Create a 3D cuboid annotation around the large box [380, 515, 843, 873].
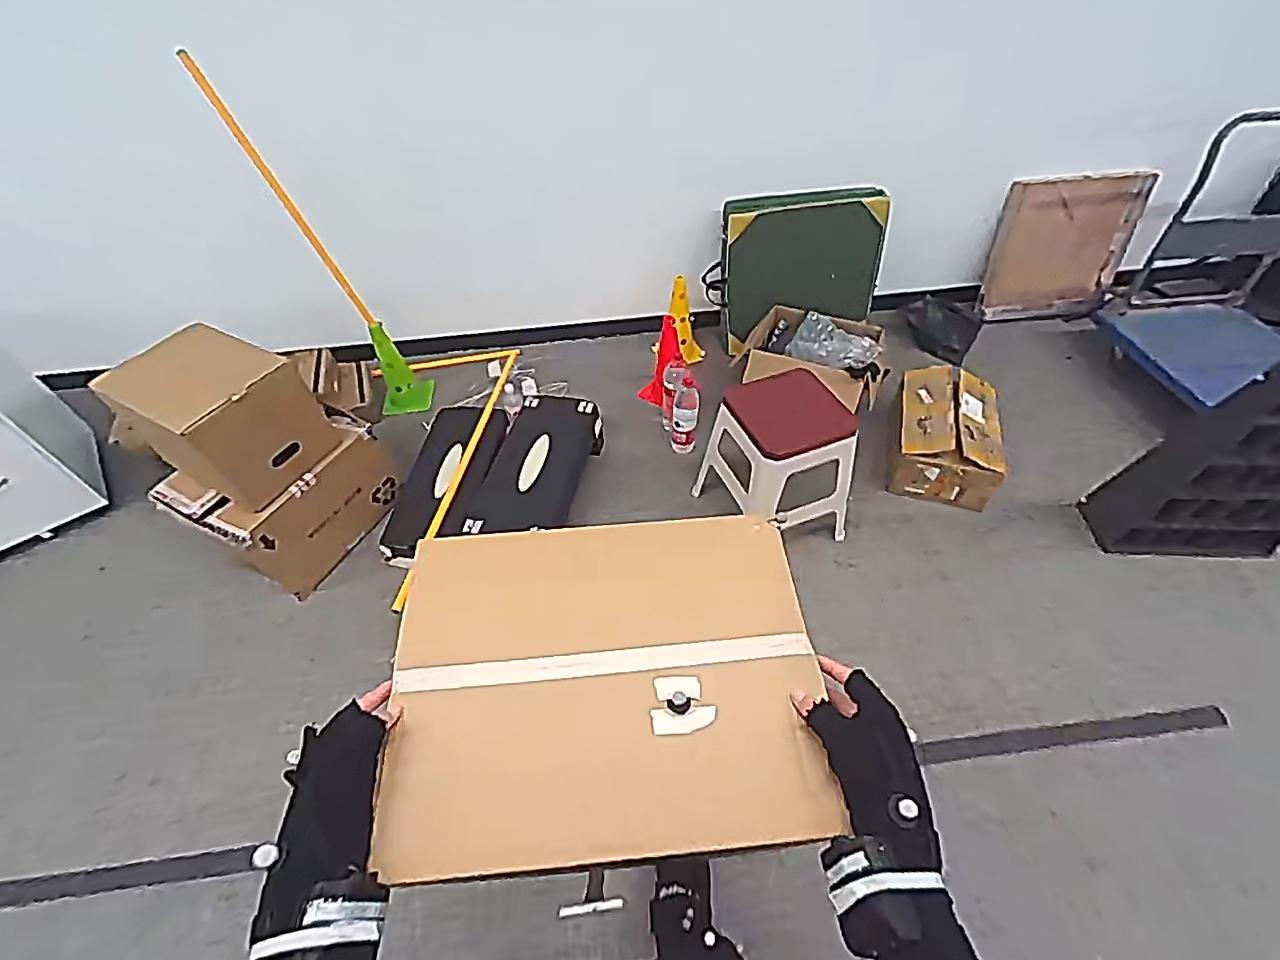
[{"bbox_3d":[-0.034,0.267,0.662,0.408,0.320,0.320,-4,54,-3],"label":"large box"}]
